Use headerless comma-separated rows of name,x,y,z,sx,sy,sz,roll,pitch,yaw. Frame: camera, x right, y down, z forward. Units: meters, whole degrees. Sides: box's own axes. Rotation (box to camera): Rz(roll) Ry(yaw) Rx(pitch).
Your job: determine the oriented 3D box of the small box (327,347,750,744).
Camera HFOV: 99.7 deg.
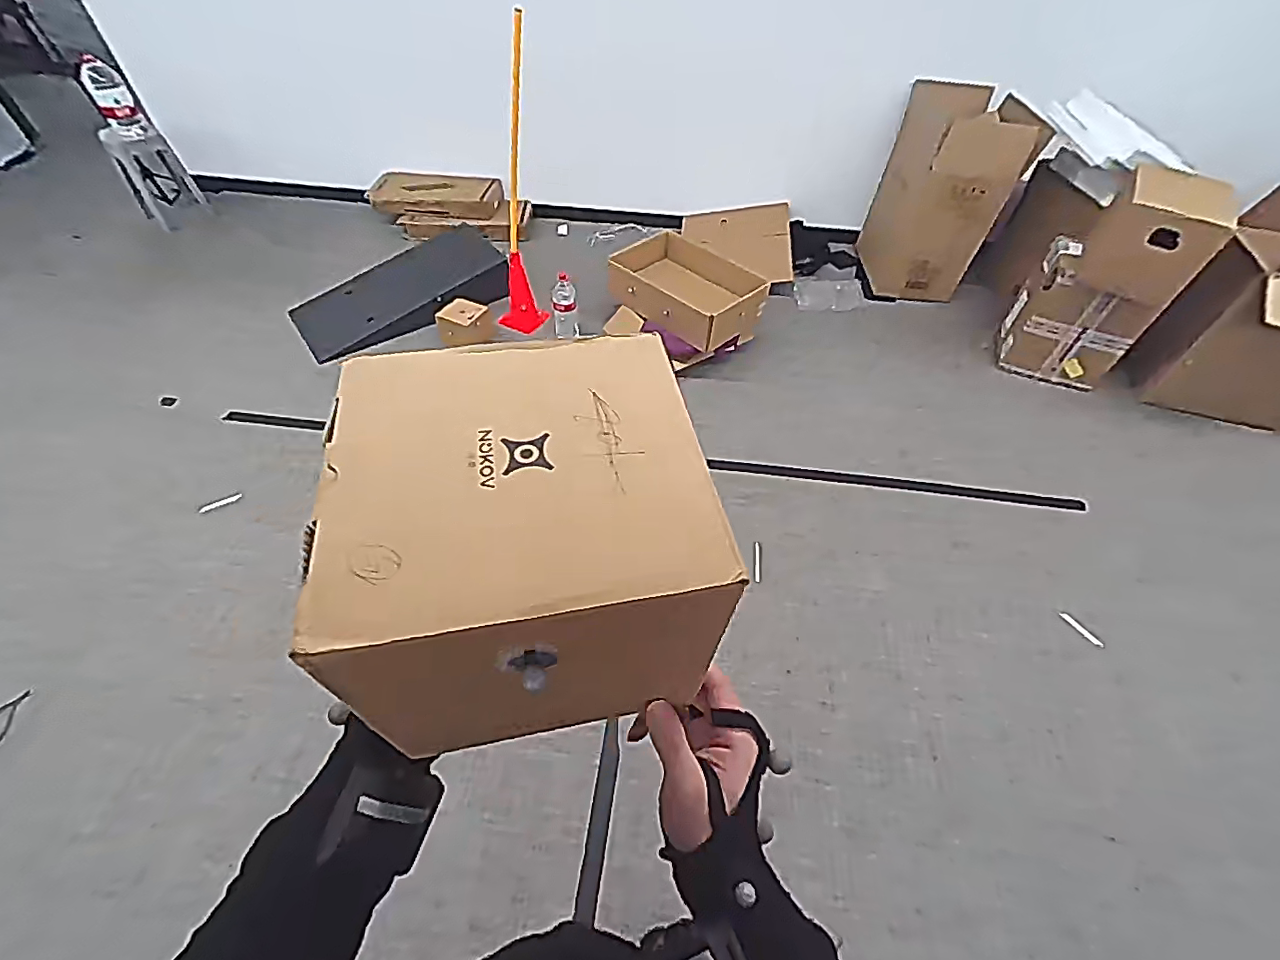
small box,-0.057,0.042,0.328,0.179,0.176,0.168,-7,53,-12
